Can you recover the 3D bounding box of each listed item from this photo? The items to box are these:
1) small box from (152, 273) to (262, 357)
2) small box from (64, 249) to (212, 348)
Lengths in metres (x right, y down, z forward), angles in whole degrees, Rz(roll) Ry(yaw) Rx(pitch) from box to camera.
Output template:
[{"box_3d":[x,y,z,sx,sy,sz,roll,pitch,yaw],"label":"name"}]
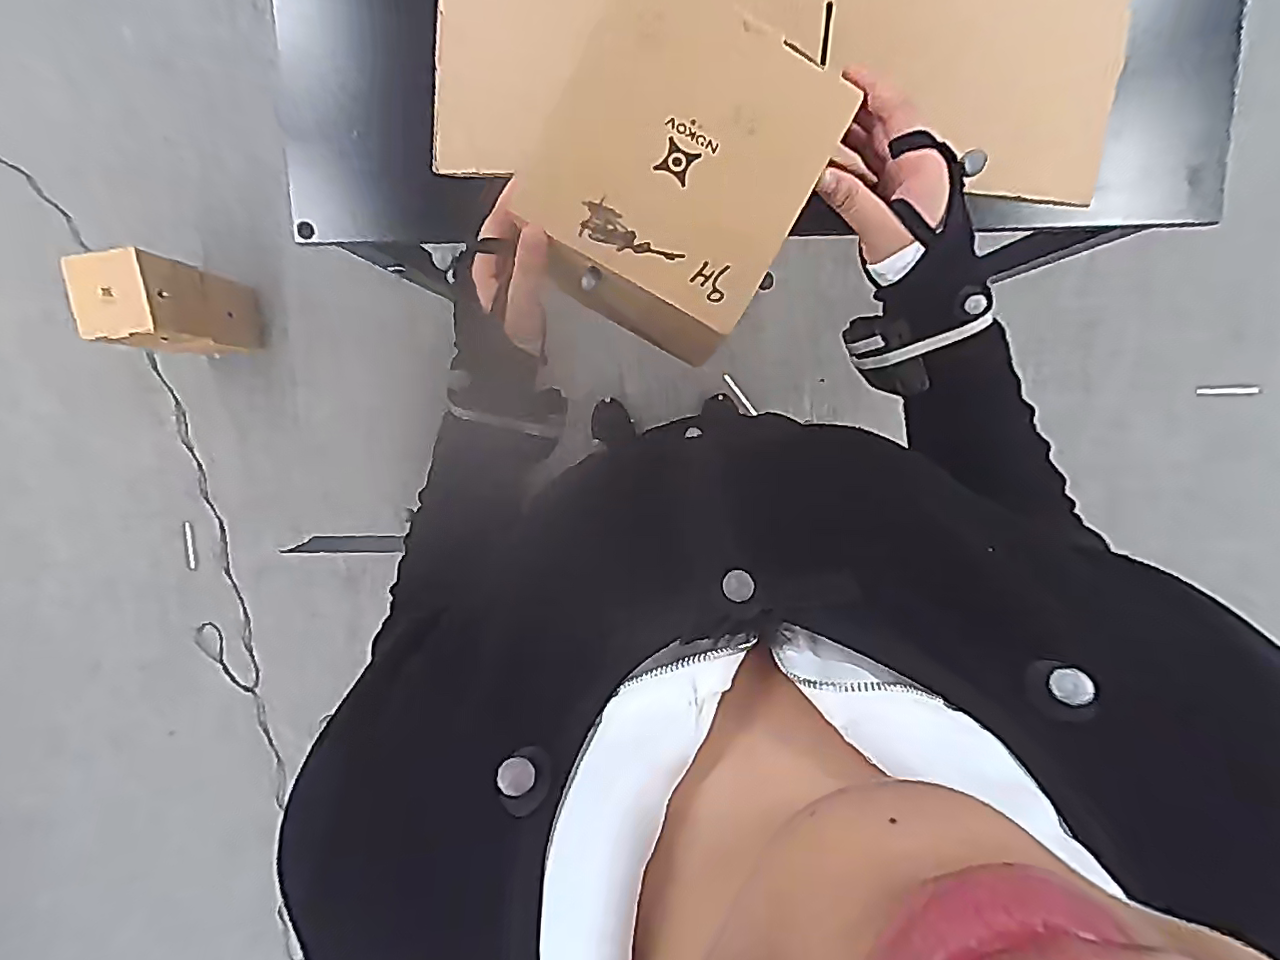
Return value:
[{"box_3d":[-1.116,-0.417,1.387,0.168,0.176,0.179,-4,98,2],"label":"small box"},{"box_3d":[-1.122,-0.400,1.225,0.168,0.176,0.179,-7,97,2],"label":"small box"}]
